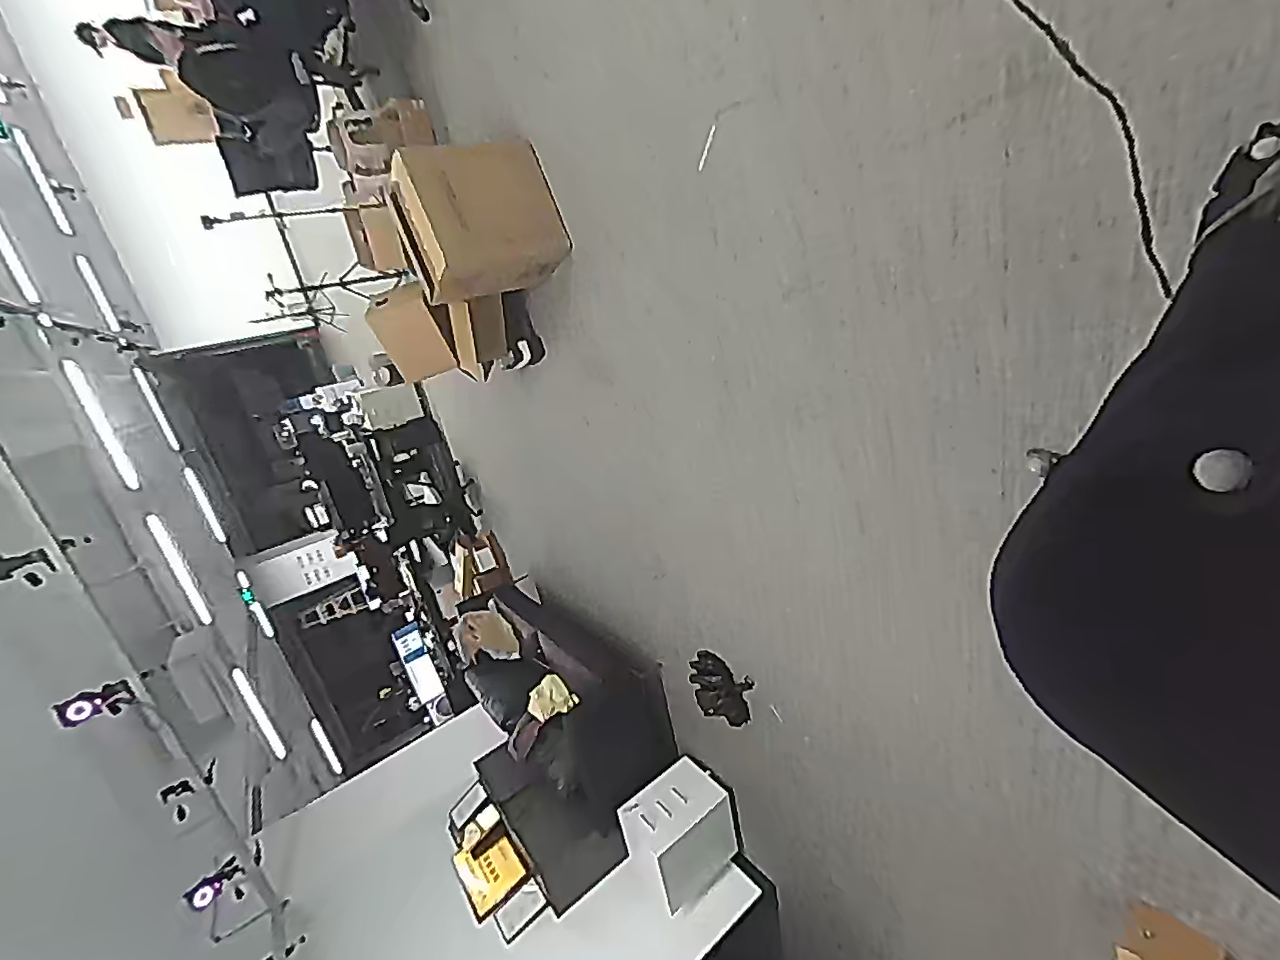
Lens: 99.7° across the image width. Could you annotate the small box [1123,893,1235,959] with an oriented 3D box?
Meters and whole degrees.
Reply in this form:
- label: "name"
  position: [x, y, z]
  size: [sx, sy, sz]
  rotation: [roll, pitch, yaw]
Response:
- label: "small box"
  position: [1.417, 1.246, 1.425]
  size: [0.179, 0.176, 0.168]
  rotation: [13, 123, 53]
